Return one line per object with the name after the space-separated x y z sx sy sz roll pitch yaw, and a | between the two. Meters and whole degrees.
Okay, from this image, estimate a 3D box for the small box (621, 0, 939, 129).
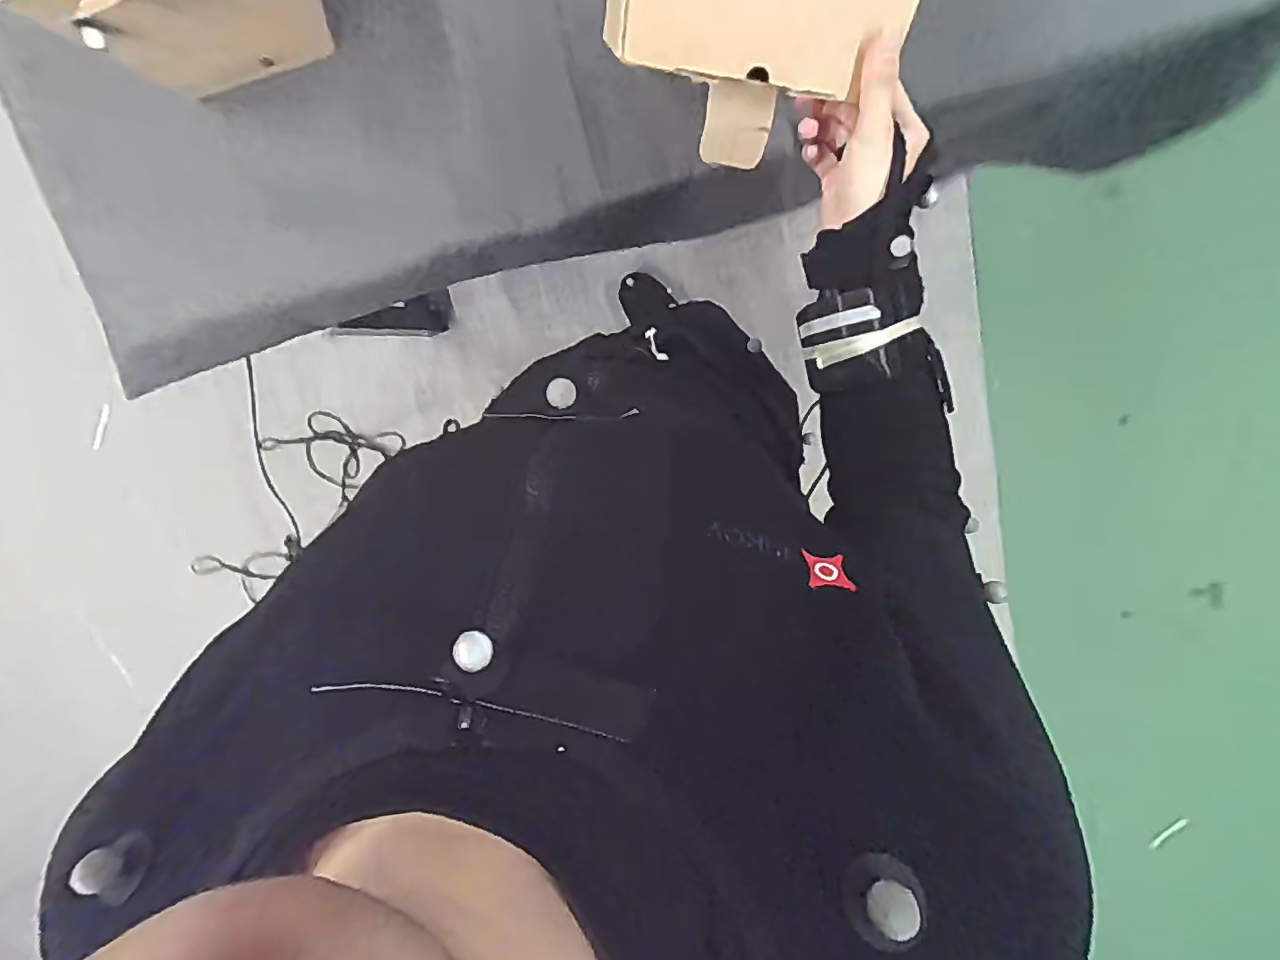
0.083 -0.346 0.328 0.168 0.176 0.179 3 134 -11 | small box
